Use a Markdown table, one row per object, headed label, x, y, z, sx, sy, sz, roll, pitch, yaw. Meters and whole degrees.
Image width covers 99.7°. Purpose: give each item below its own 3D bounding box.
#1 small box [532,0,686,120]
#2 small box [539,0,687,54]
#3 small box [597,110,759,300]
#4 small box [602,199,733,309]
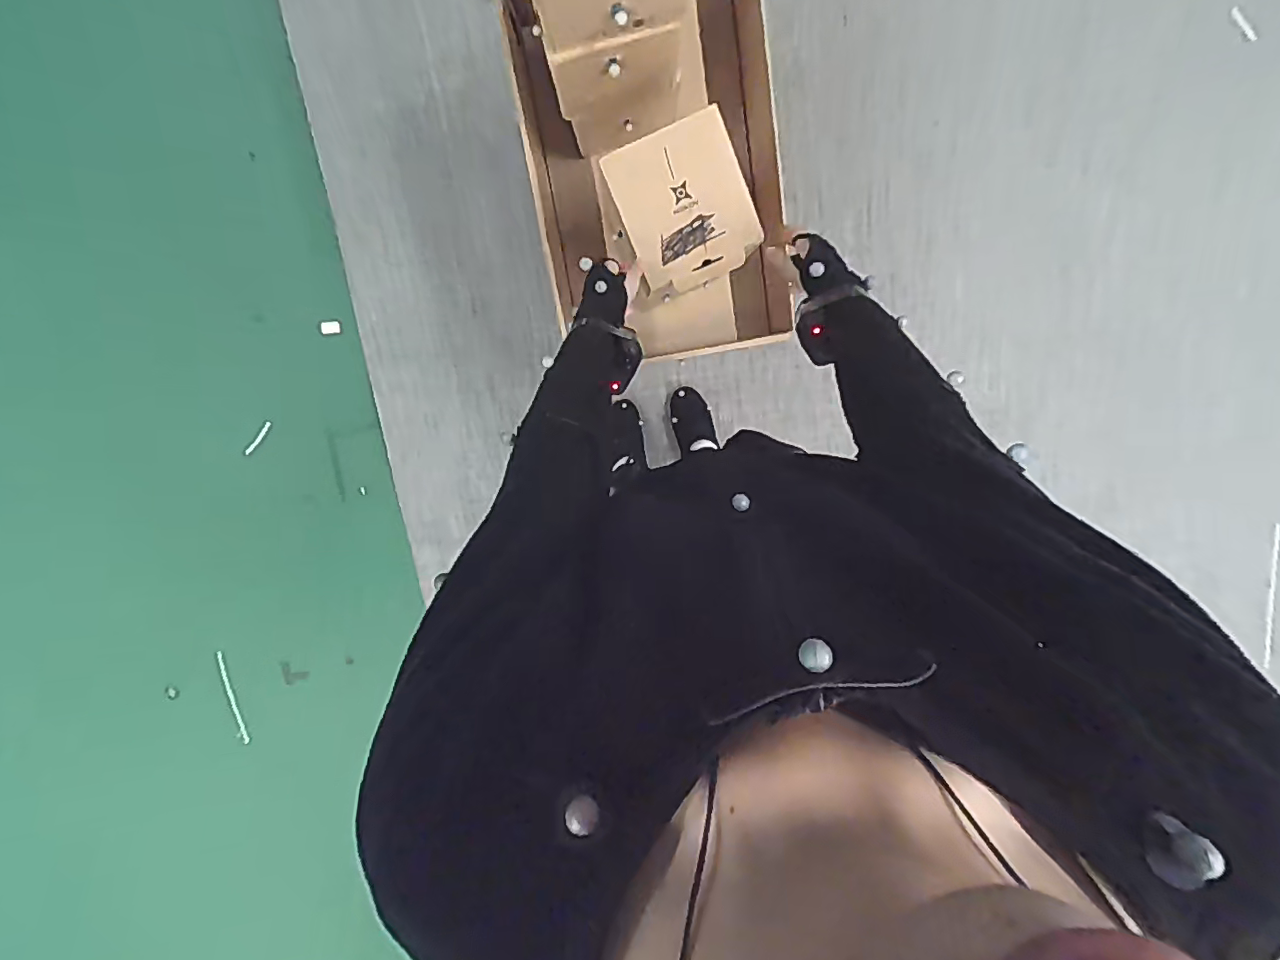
| label | x | y | z | sx | sy | sz | roll | pitch | yaw |
| --- | --- | --- | --- | --- | --- | --- | --- | --- | --- |
| small box | -0.047 | -0.621 | 0.722 | 0.179 | 0.176 | 0.168 | -14 | 102 | 4 |
| small box | -0.042 | -0.597 | 0.558 | 0.168 | 0.176 | 0.179 | -12 | 103 | 4 |
| small box | 0.050 | -0.373 | 0.776 | 0.168 | 0.176 | 0.179 | -23 | 100 | 3 |
| small box | 0.046 | -0.409 | 0.936 | 0.168 | 0.176 | 0.179 | -22 | 101 | 4 |
